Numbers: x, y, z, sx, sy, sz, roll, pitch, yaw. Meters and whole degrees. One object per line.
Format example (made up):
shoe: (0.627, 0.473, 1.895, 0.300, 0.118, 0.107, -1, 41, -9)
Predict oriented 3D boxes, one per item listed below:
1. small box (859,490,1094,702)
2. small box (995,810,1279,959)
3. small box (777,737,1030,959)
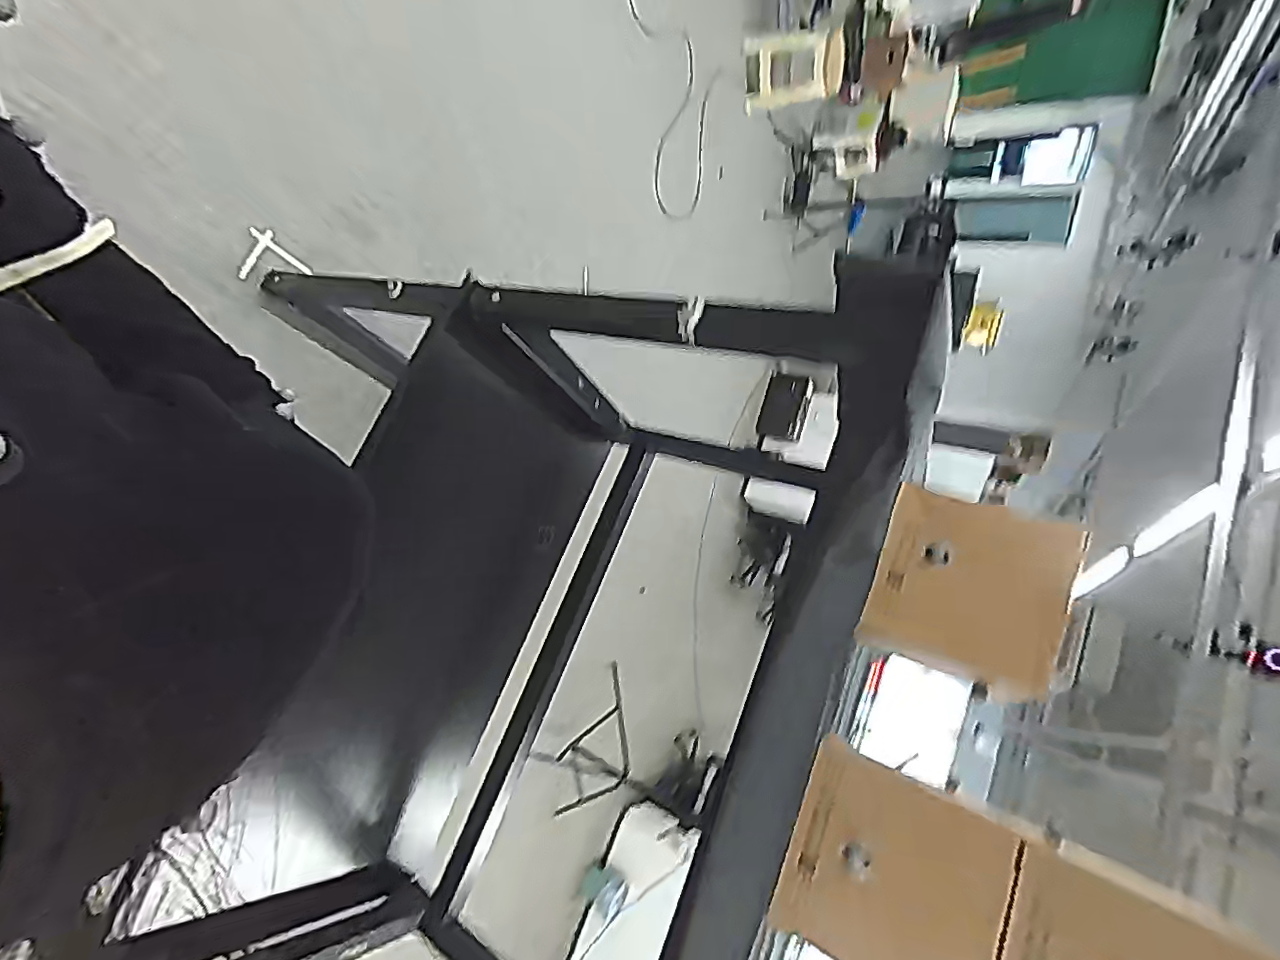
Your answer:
small box: (0.350, 0.126, 0.595, 0.168, 0.176, 0.179, -66, 151, -12)
small box: (0.388, 0.415, 0.461, 0.168, 0.176, 0.179, -66, 151, -13)
small box: (0.248, 0.373, 0.535, 0.168, 0.176, 0.179, -67, 152, -14)
